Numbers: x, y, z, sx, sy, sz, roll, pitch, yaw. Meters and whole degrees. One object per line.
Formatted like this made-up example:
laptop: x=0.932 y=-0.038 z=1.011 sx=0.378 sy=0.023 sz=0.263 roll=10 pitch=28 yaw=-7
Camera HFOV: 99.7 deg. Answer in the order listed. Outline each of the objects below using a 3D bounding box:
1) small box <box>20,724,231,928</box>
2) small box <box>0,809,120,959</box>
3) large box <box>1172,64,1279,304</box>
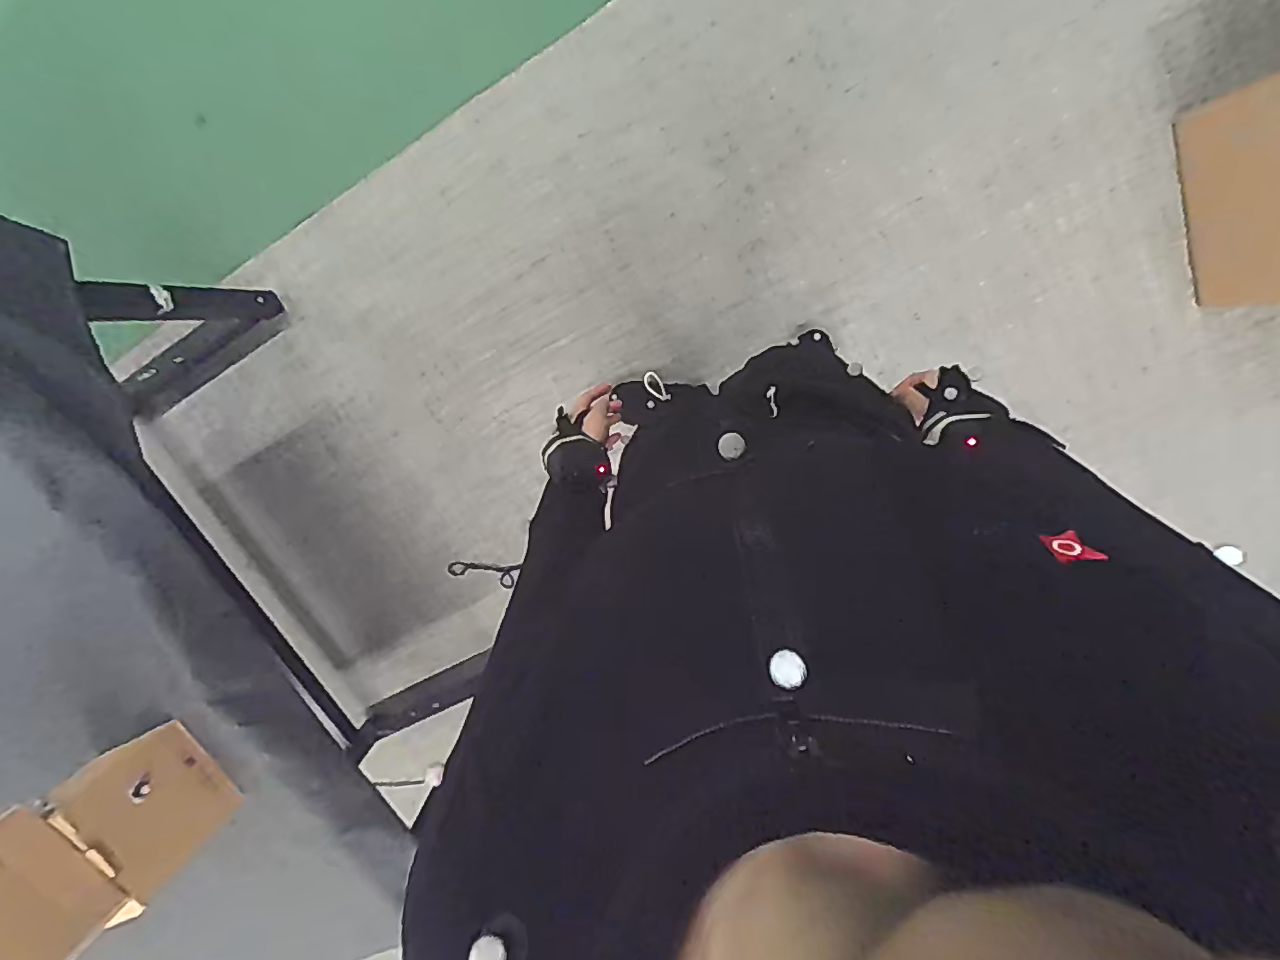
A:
small box: x=-0.712 y=0.469 z=0.736 sx=0.179 sy=0.176 sz=0.168 roll=-26 pitch=102 yaw=13
small box: x=-0.736 y=0.504 z=0.578 sx=0.168 sy=0.176 sz=0.179 roll=-33 pitch=100 yaw=14
large box: x=1.267 y=-0.567 z=0.961 sx=0.320 sy=0.320 sz=0.408 roll=-21 pitch=105 yaw=11
